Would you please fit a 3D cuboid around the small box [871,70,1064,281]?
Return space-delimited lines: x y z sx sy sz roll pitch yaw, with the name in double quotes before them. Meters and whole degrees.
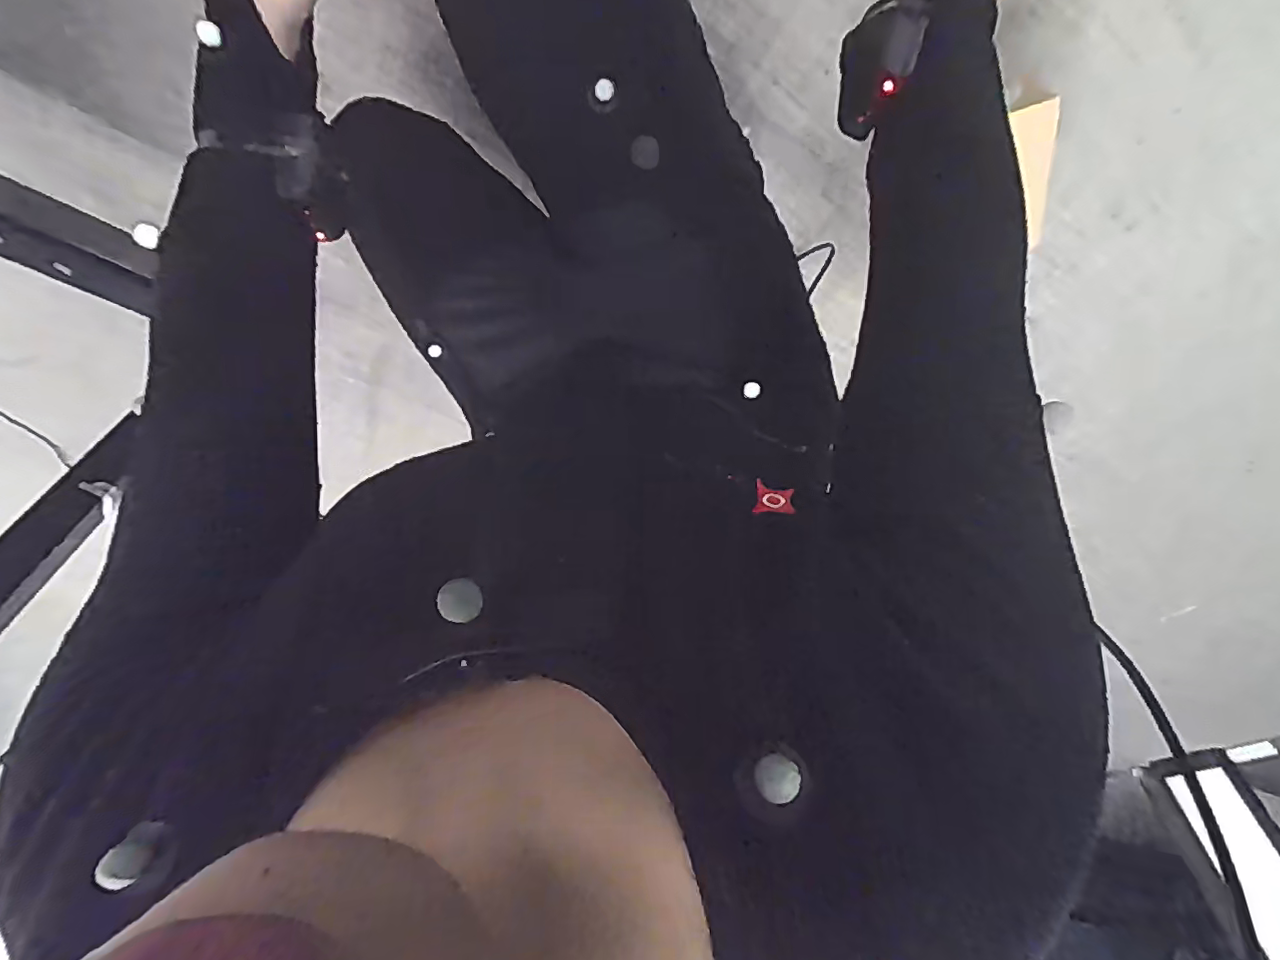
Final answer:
"small box" 0.416 -0.403 0.721 0.168 0.176 0.179 -12 134 15
